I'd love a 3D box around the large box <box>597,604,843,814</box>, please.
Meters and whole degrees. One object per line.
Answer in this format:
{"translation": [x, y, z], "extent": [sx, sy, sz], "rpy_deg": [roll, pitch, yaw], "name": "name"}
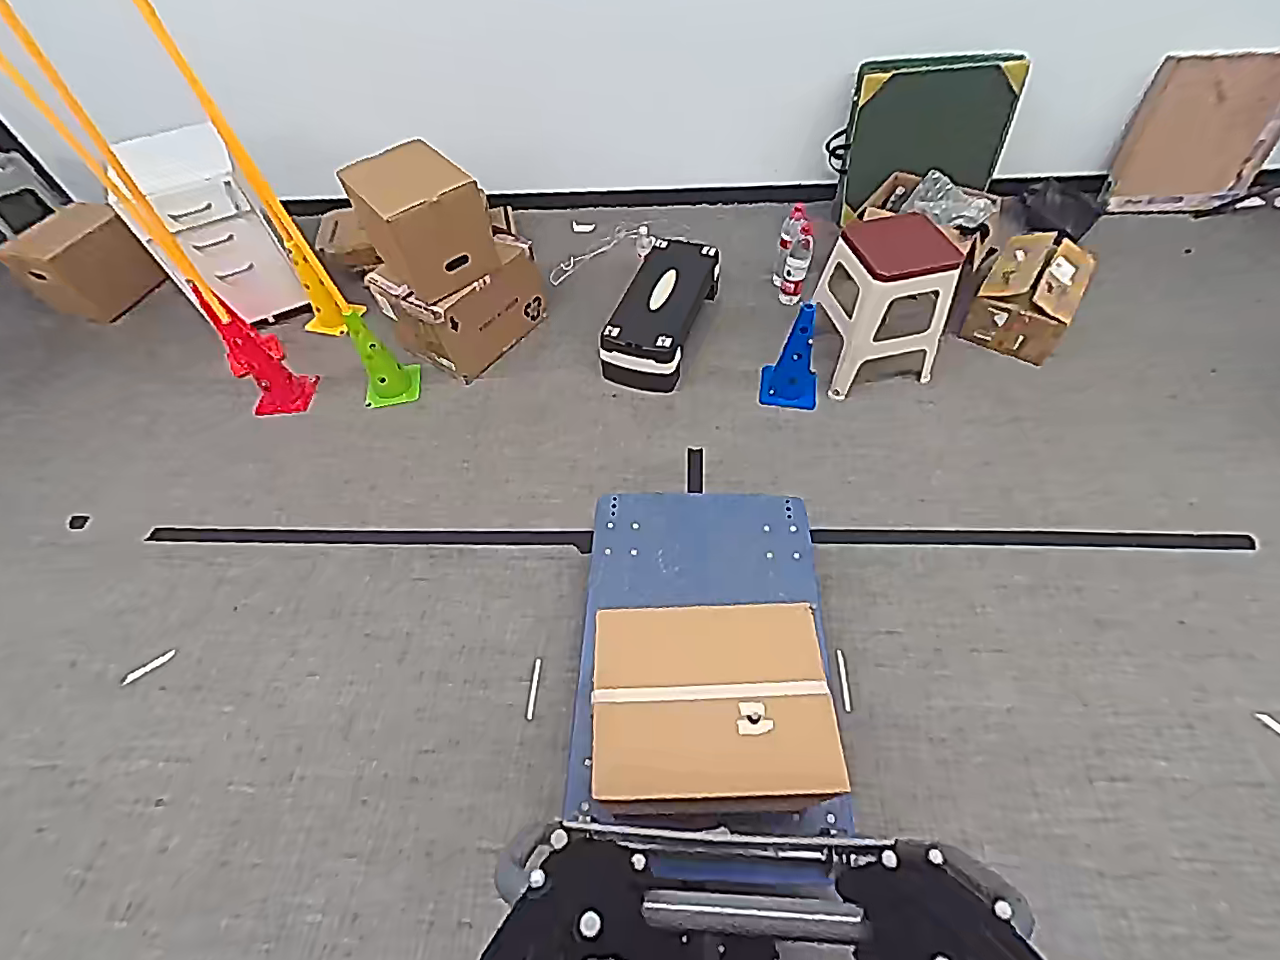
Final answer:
{"translation": [0.125, 0.459, 1.069], "extent": [0.408, 0.320, 0.320], "rpy_deg": [-2, 55, 0], "name": "large box"}
